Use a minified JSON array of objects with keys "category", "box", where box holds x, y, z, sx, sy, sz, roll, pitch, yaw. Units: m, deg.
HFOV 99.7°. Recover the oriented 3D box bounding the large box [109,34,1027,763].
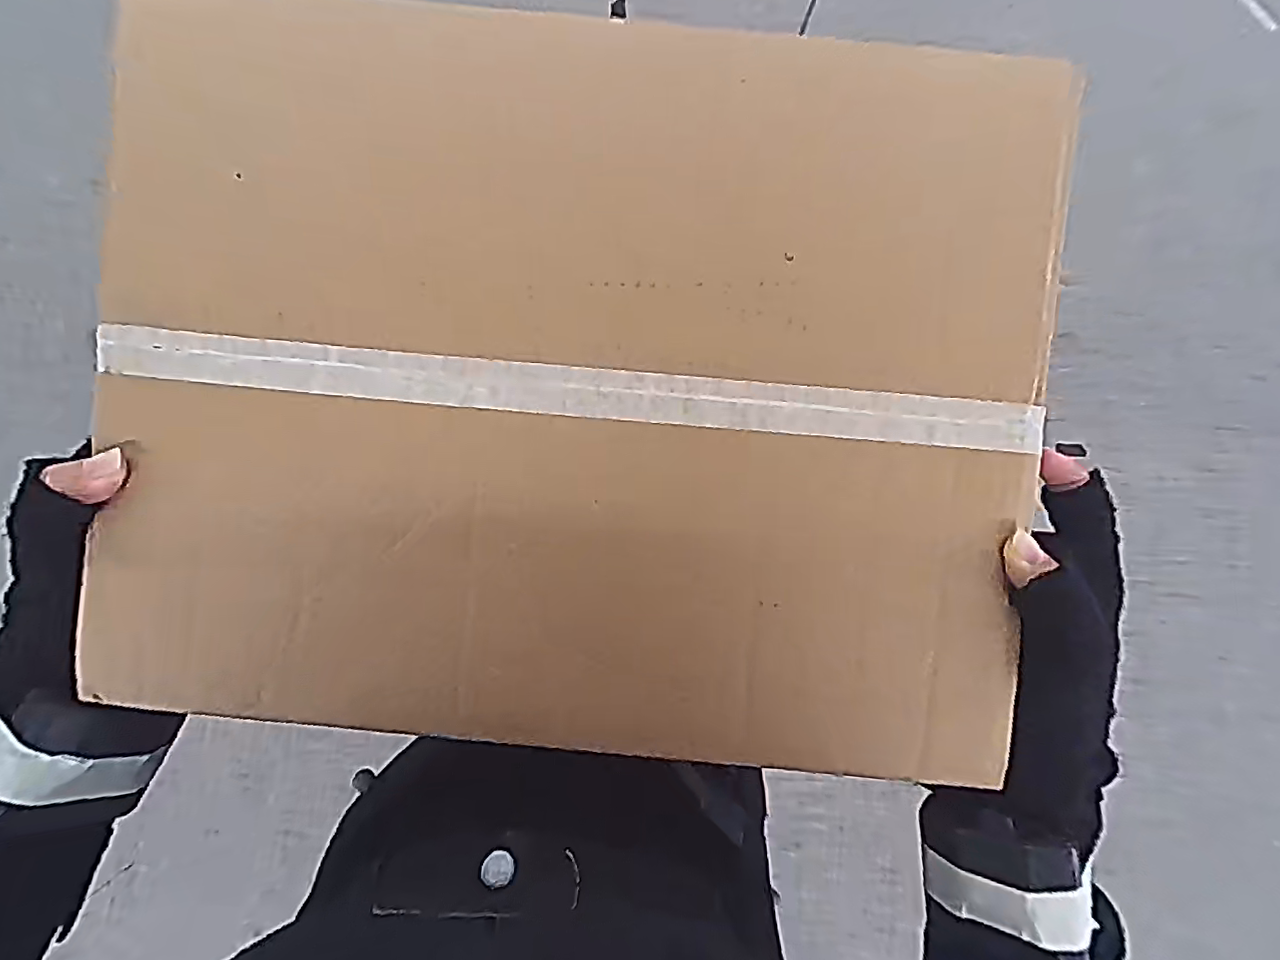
[{"category":"large box","box":[-0.034,-0.040,0.394,0.408,0.320,0.320,5,91,0]}]
